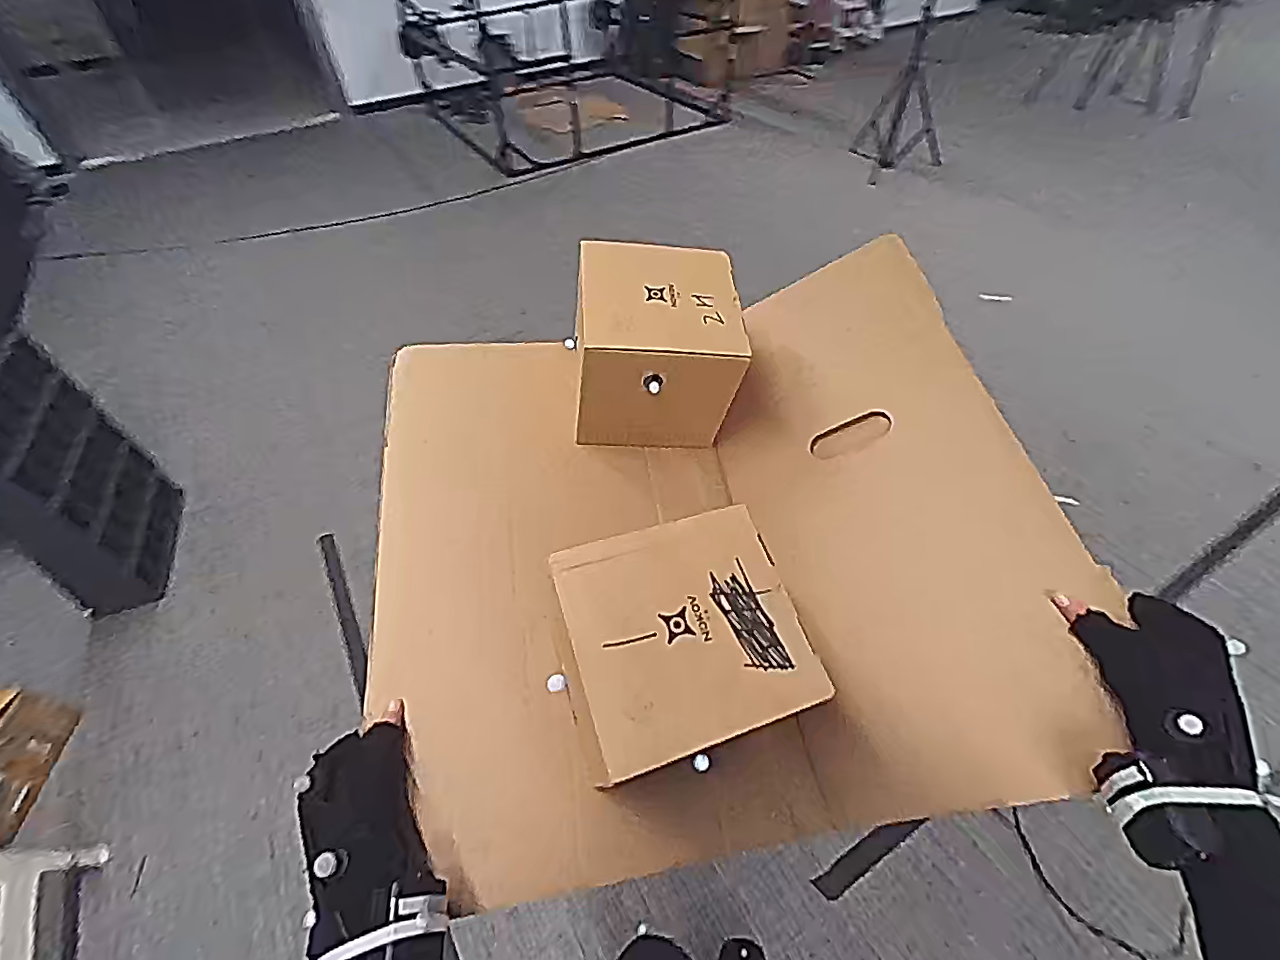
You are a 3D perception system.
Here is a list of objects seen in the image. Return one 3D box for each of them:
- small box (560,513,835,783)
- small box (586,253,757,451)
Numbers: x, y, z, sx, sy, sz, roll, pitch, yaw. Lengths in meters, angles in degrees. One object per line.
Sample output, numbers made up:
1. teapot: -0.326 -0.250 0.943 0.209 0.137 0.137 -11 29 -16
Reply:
1. small box: 0.031 0.152 0.483 0.179 0.176 0.168 -13 63 -15
2. small box: 0.025 -0.148 0.660 0.179 0.176 0.168 2 59 -8
